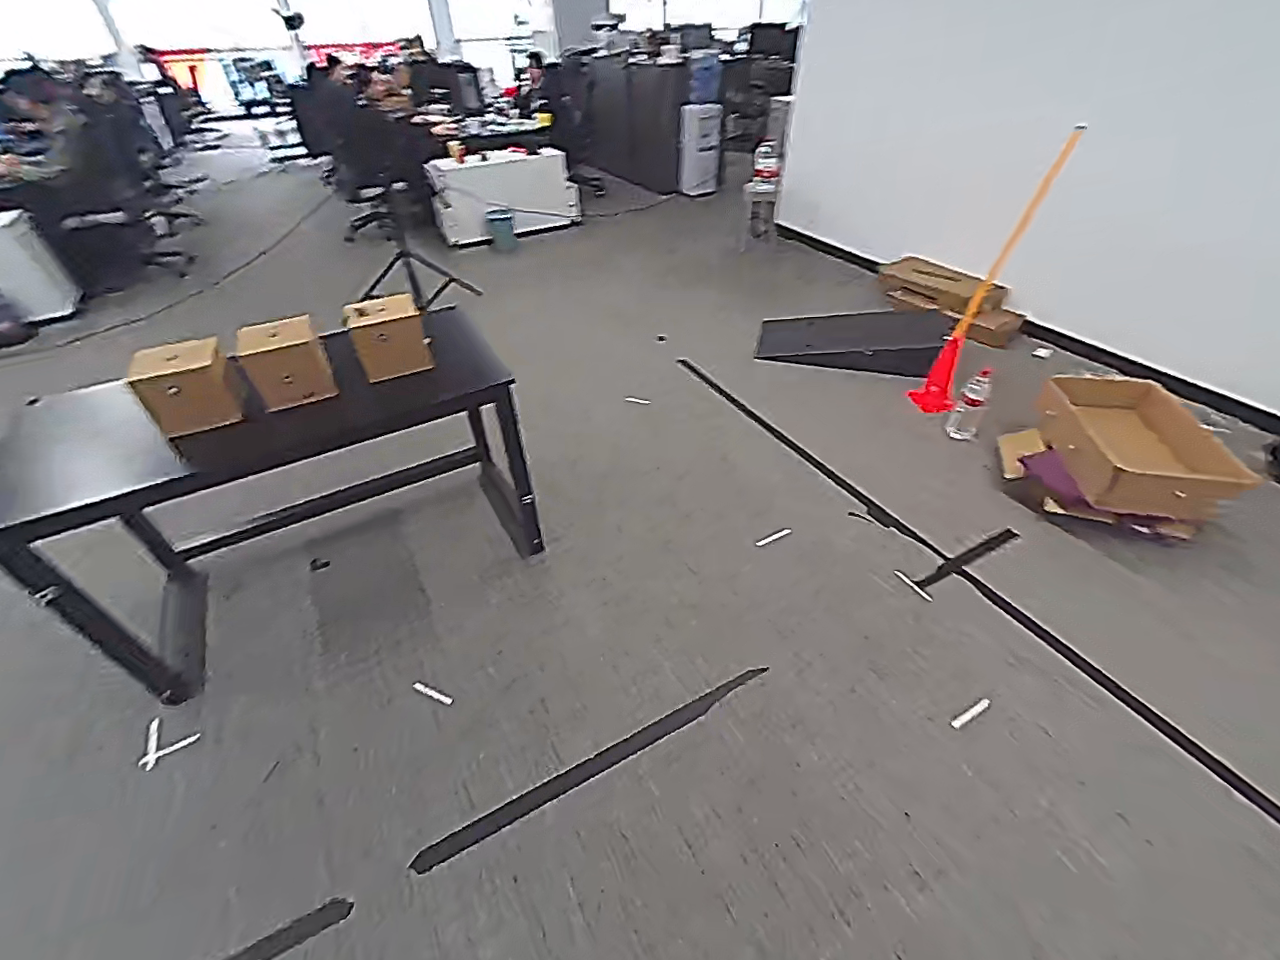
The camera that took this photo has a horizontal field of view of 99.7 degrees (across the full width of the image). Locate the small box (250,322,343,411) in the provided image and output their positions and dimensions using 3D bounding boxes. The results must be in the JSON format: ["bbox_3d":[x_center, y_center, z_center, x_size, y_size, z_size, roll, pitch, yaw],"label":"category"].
[{"bbox_3d":[-0.930,-0.304,1.471,0.168,0.176,0.179,-20,44,-20],"label":"small box"}]

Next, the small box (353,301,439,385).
[{"bbox_3d":[-0.707,-0.396,1.569,0.179,0.176,0.168,-19,44,-20],"label":"small box"}]
